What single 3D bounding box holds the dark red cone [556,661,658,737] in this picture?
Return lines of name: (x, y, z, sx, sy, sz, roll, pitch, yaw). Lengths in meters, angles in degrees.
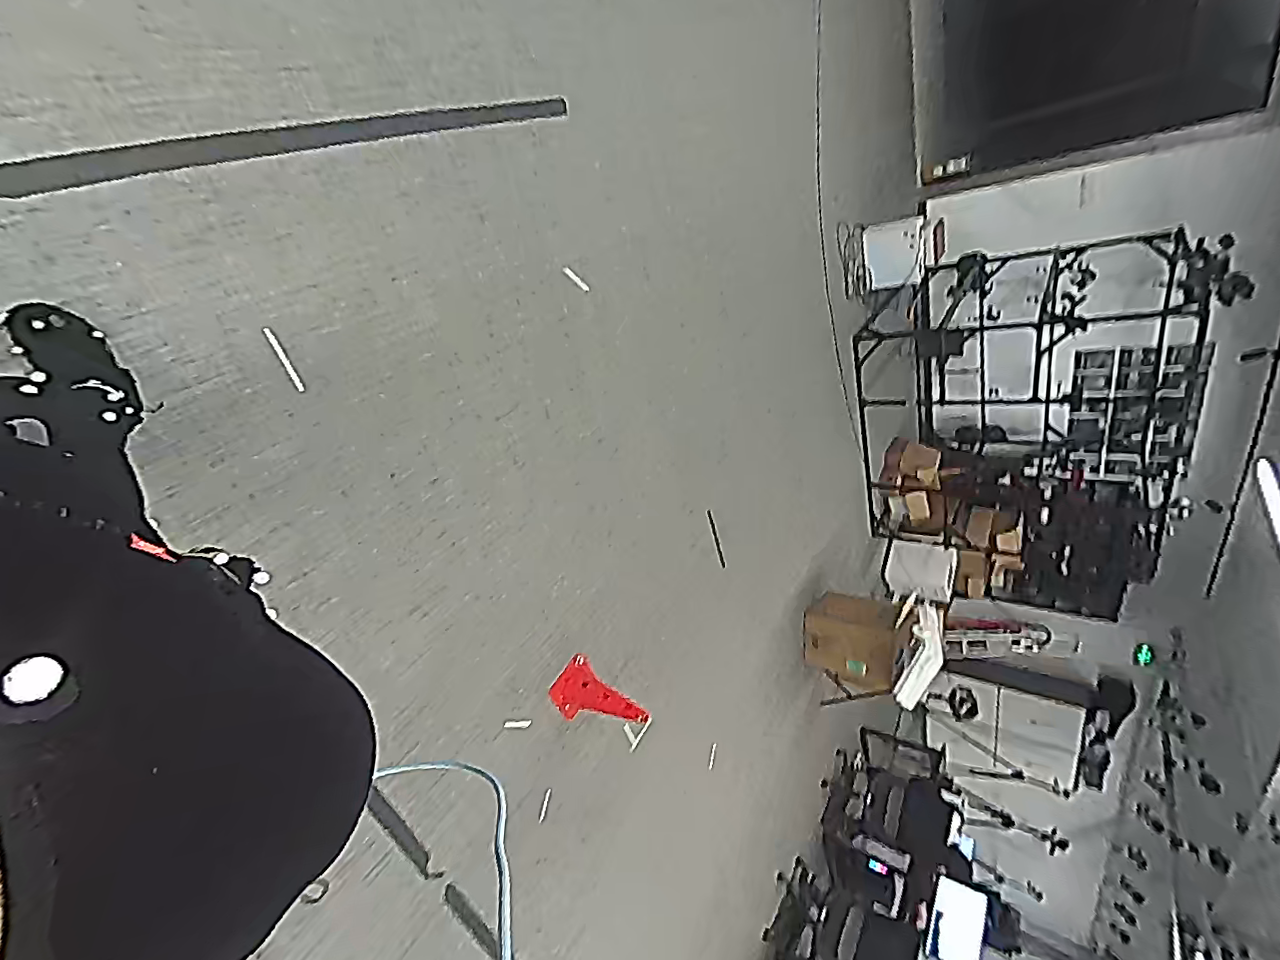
dark red cone: (-0.102, 0.831, 1.953, 0.201, 0.394, 0.202, -49, 131, -35)
